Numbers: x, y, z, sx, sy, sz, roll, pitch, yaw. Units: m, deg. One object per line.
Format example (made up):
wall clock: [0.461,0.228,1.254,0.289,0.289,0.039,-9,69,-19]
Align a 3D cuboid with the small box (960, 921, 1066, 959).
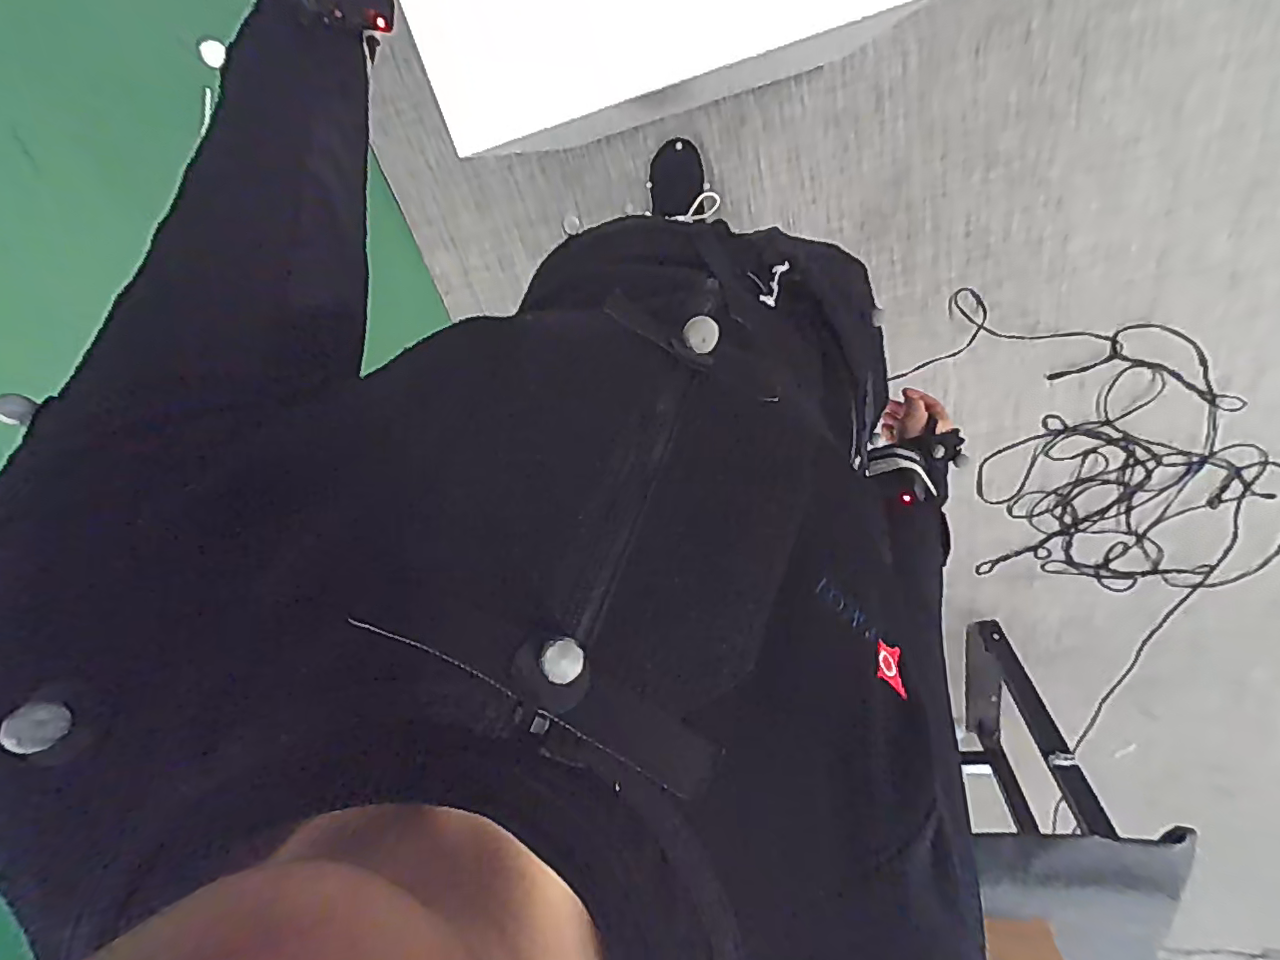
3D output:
small box: [0.758,1.011,1.077,0.179,0.176,0.168,-15,120,17]
